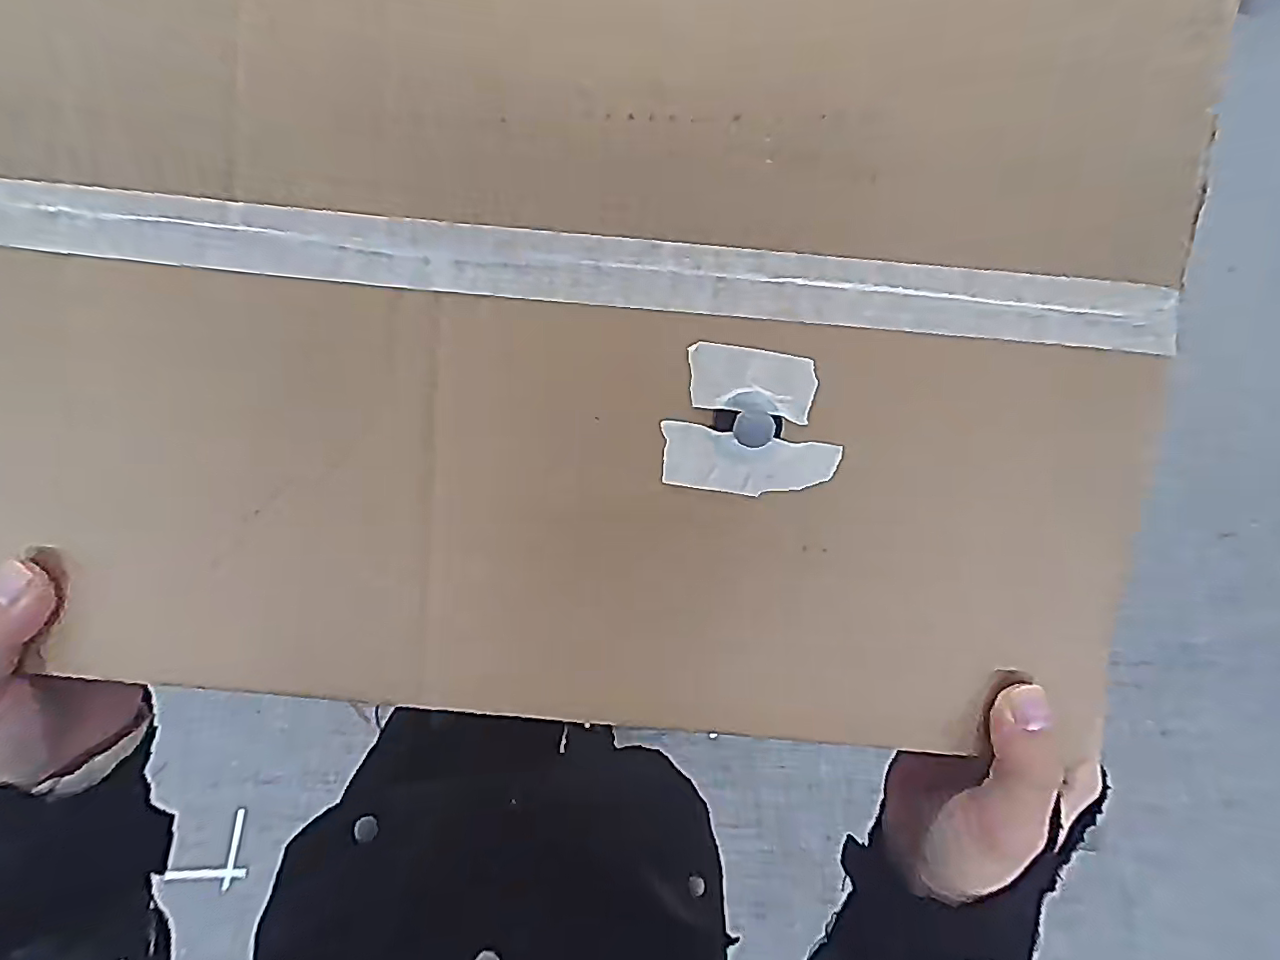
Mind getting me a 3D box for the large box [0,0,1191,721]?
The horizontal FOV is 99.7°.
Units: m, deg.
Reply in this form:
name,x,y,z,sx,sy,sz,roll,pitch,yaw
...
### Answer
name,x,y,z,sx,sy,sz,roll,pitch,yaw
large box,-0.024,-0.086,0.338,0.408,0.320,0.320,5,97,-1
